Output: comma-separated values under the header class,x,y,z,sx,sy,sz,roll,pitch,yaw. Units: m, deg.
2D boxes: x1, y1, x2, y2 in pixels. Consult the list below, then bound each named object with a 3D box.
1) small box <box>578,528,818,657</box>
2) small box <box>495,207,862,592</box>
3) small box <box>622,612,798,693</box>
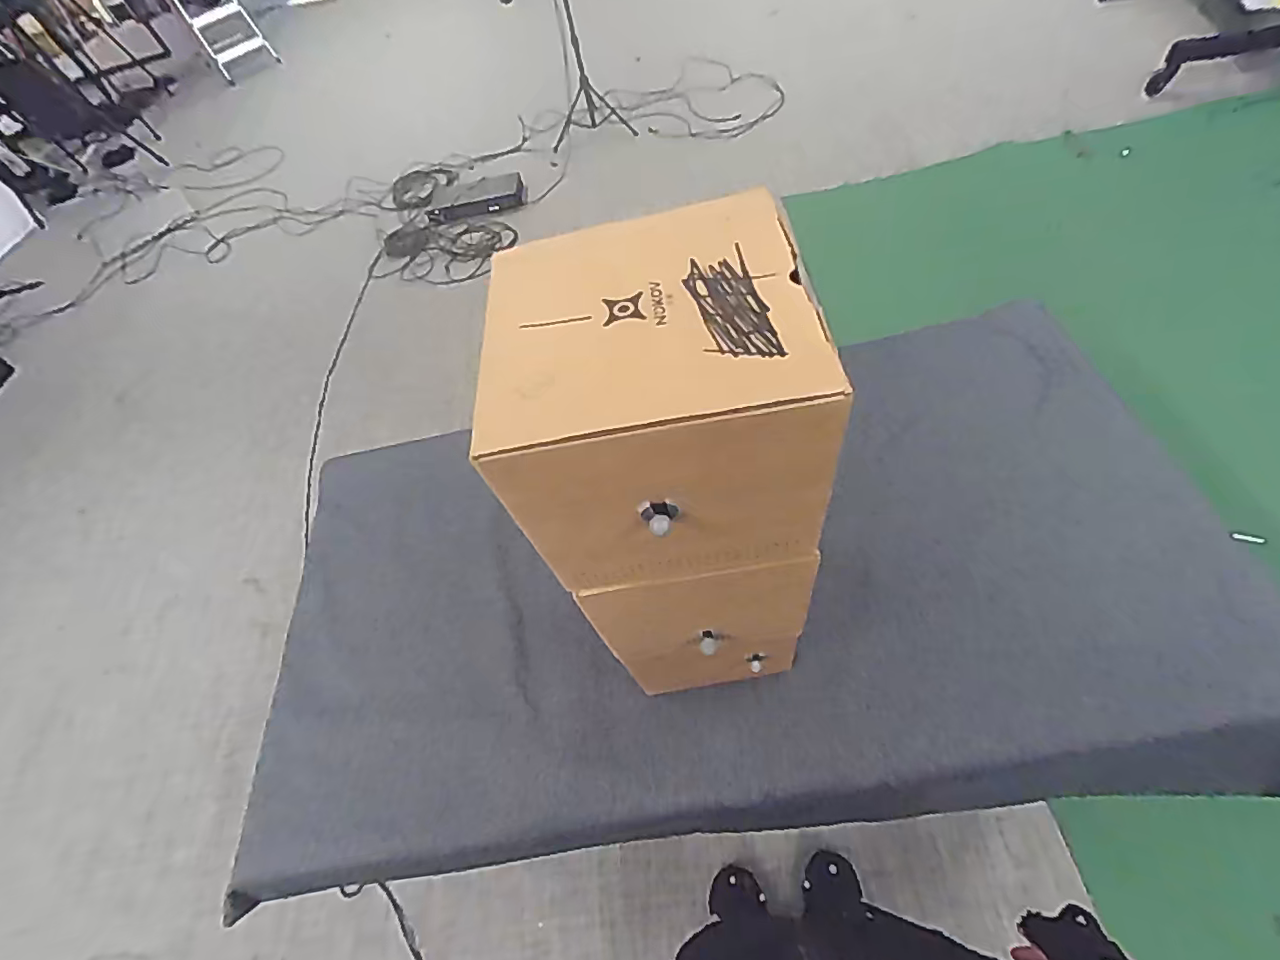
class,x,y,z,sx,sy,sz,roll,pitch,yaw
small box,0.044,0.049,0.494,0.179,0.176,0.168,-10,55,4
small box,0.017,-0.042,0.359,0.179,0.176,0.168,-11,55,2
small box,0.071,0.135,0.630,0.179,0.176,0.168,-13,55,5
